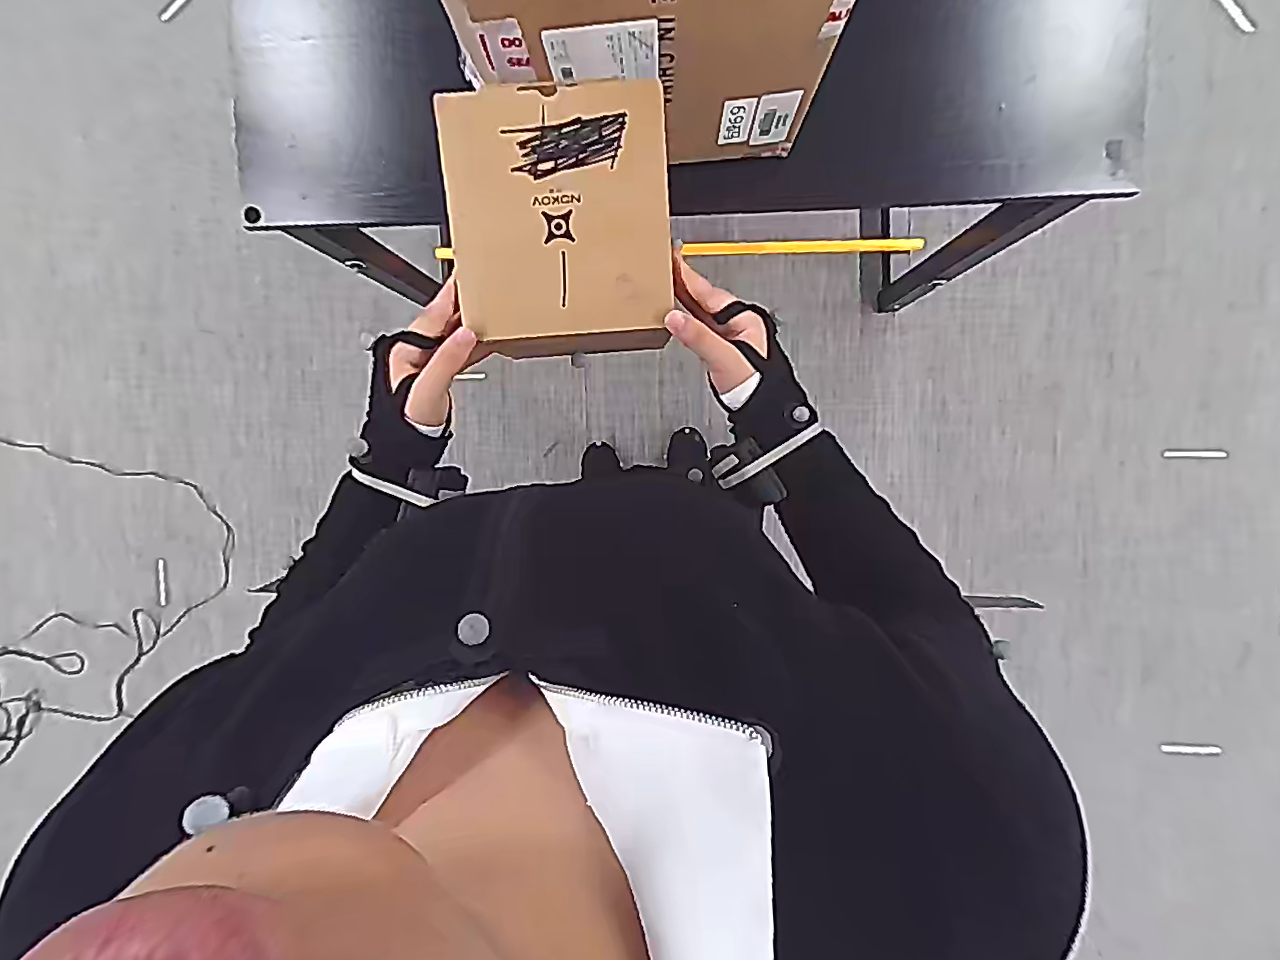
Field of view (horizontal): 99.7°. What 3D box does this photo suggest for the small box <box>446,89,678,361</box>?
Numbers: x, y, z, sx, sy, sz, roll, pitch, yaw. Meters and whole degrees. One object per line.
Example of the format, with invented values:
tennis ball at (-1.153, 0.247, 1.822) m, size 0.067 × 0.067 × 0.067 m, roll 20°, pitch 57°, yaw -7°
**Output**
small box at (-0.058, -0.206, 0.484) m, size 0.168 × 0.176 × 0.179 m, roll -4°, pitch 98°, yaw 0°
